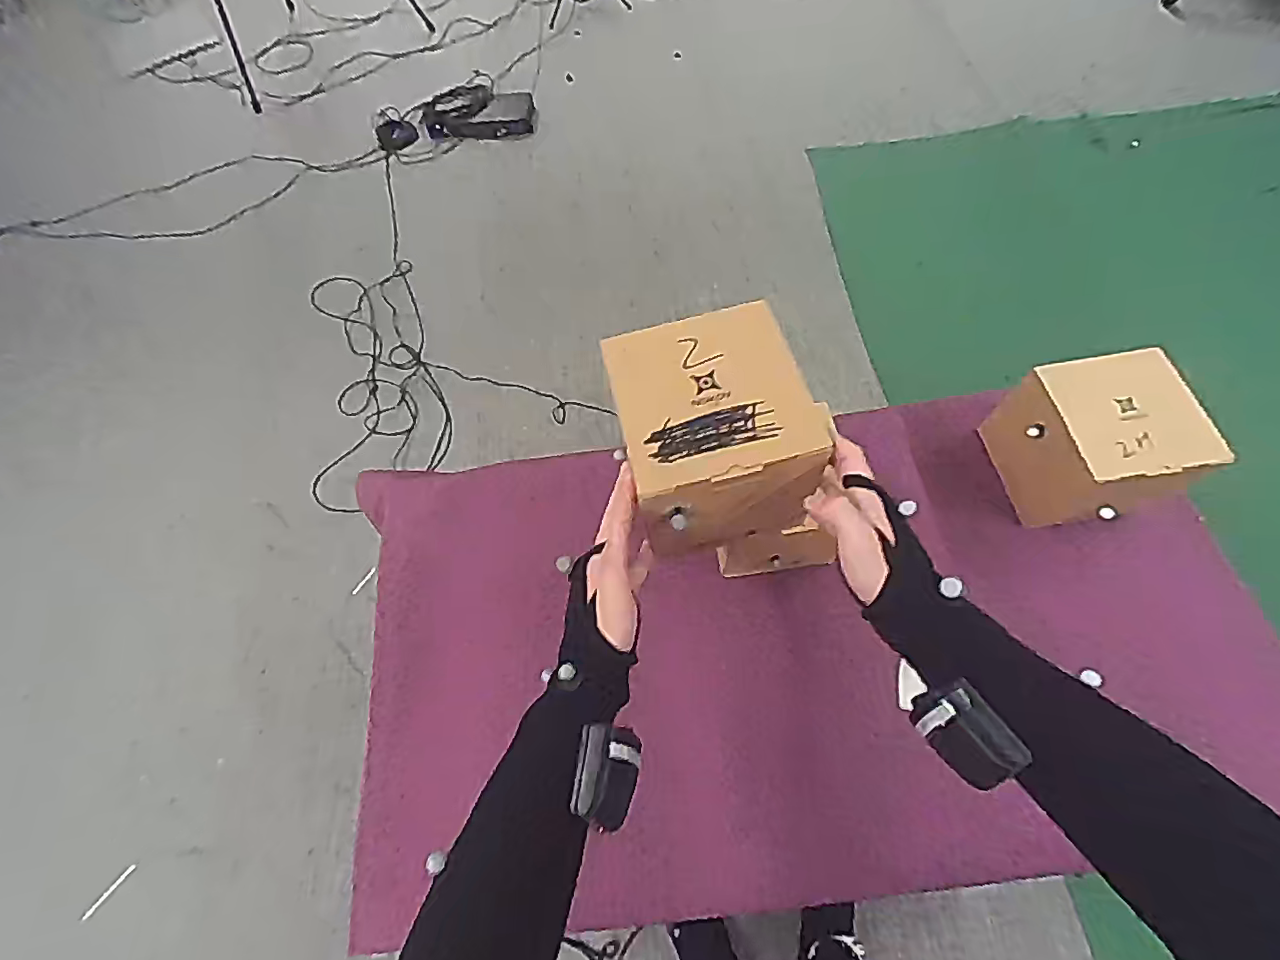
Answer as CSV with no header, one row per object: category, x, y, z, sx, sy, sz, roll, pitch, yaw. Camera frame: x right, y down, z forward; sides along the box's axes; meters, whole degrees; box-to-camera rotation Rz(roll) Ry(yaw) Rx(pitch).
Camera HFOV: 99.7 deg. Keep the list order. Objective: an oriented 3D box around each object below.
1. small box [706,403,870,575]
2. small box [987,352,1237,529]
small box,0.189,0.018,0.754,0.168,0.176,0.179,-8,65,0
small box,0.626,-0.048,0.750,0.168,0.176,0.179,-8,64,3
